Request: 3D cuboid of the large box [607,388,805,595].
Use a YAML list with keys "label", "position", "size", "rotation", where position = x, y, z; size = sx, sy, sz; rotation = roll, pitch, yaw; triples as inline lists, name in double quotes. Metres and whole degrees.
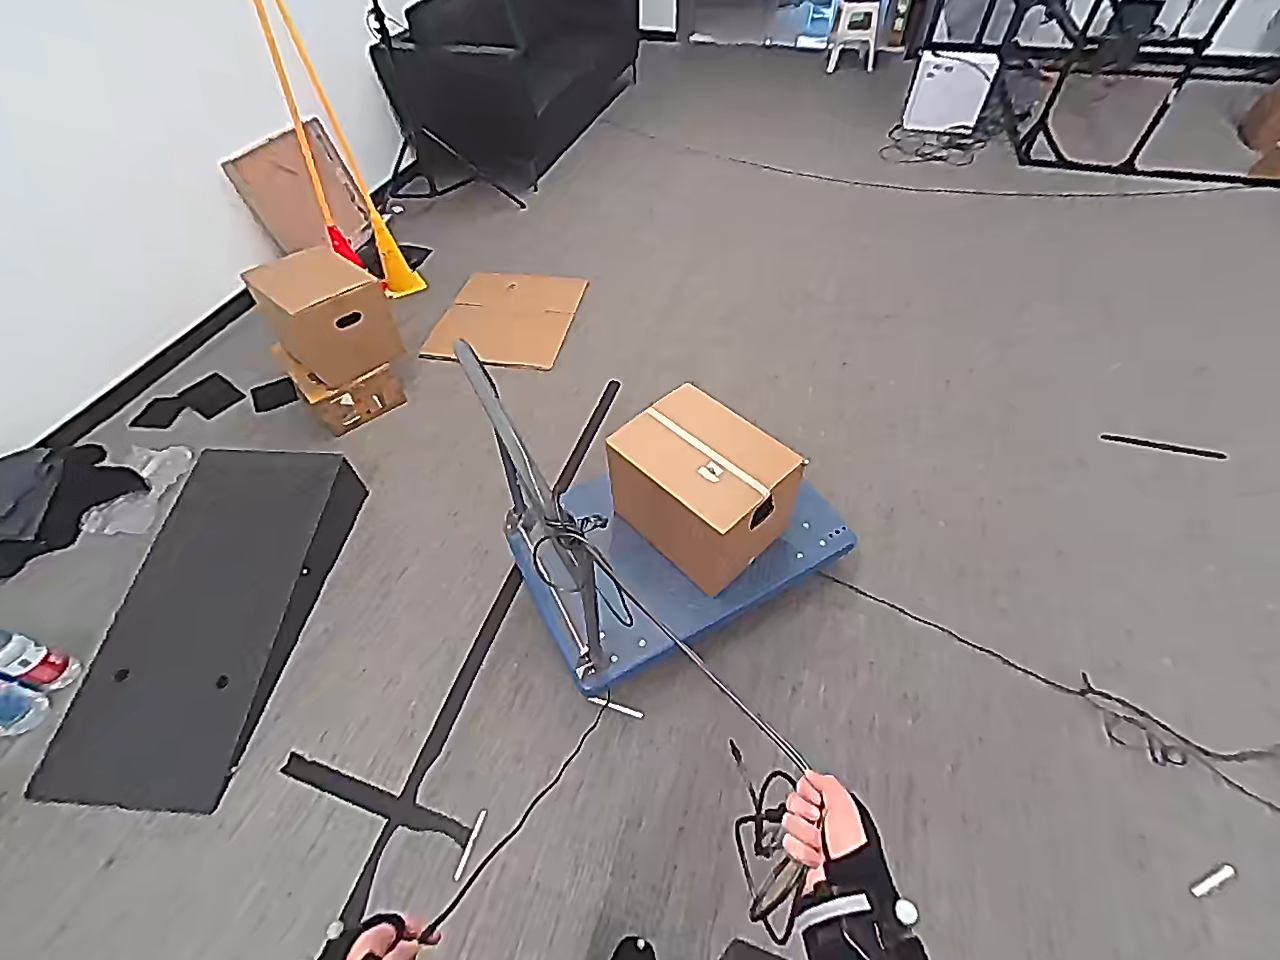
- label: "large box"
  position: [0.160, 0.025, 1.459]
  size: [0.320, 0.320, 0.408]
  rotation: [-38, 60, -24]
